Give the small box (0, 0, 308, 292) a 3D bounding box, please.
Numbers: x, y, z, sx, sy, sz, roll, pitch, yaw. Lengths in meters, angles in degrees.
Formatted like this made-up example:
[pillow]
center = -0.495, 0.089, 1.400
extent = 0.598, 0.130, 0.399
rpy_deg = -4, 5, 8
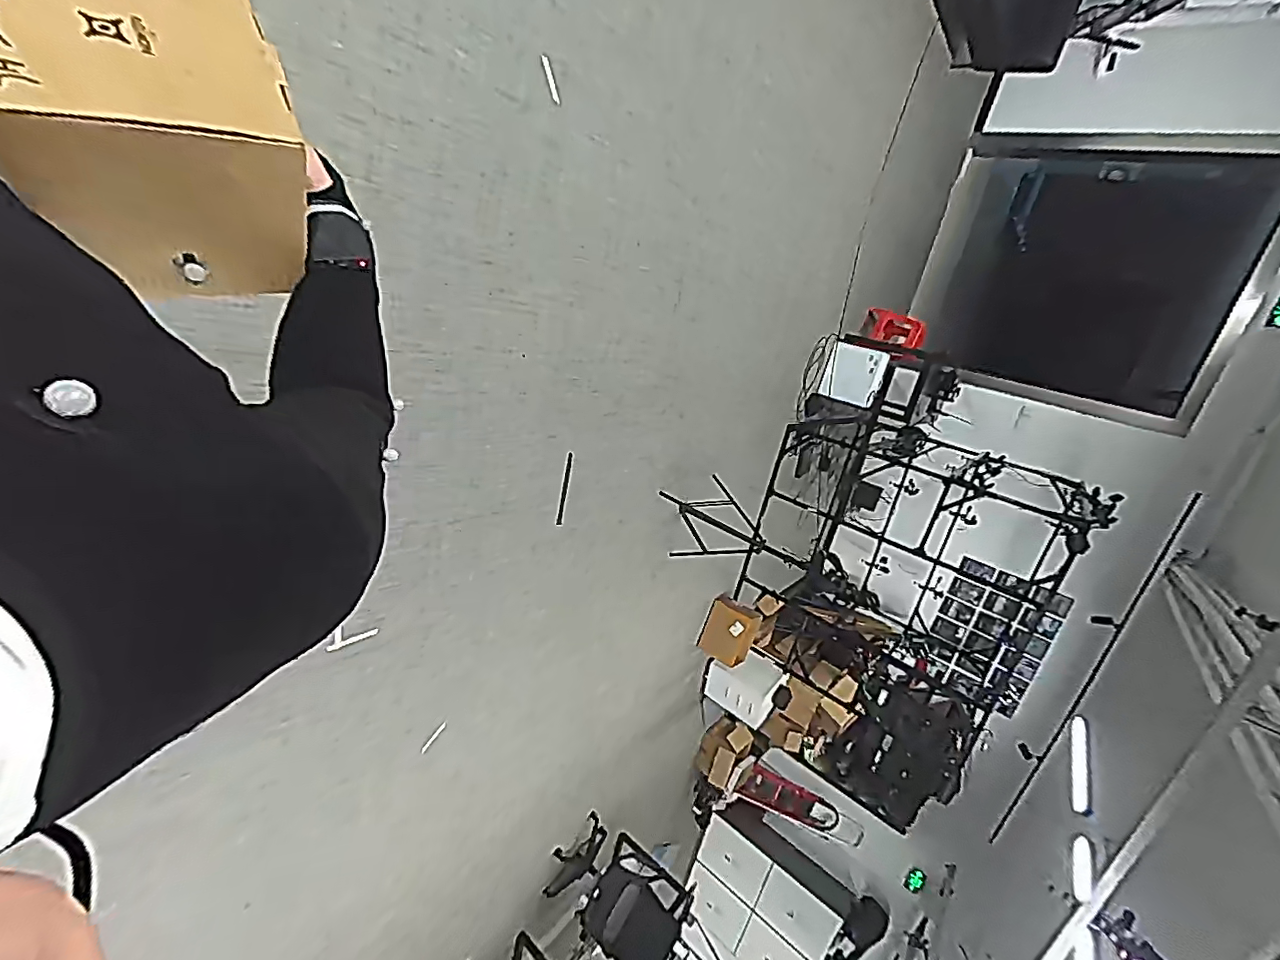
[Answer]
[small box]
center = -0.397, -0.274, 0.446
extent = 0.179, 0.168, 0.176
rpy_deg = -17, 166, -37
